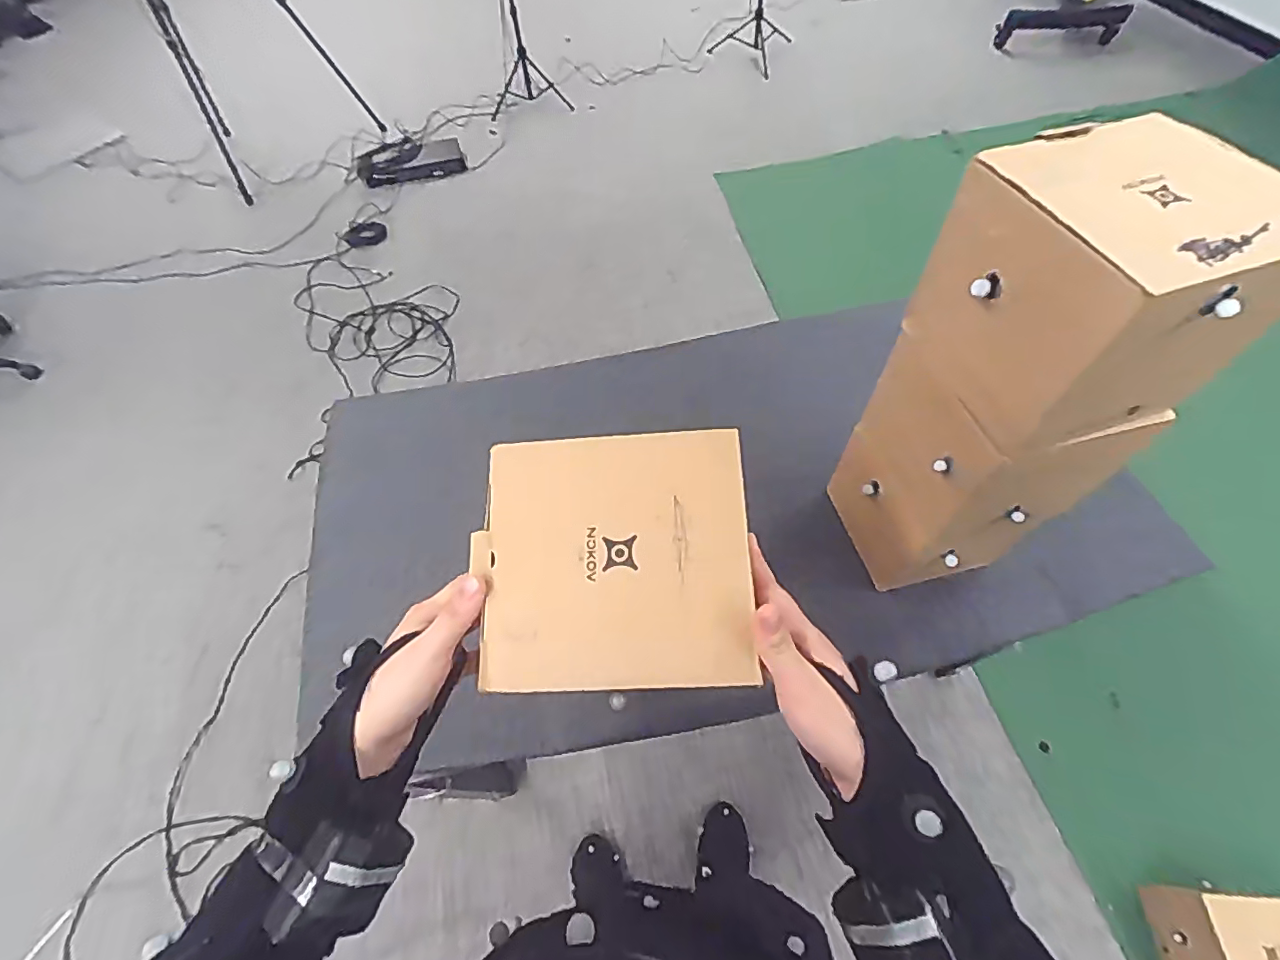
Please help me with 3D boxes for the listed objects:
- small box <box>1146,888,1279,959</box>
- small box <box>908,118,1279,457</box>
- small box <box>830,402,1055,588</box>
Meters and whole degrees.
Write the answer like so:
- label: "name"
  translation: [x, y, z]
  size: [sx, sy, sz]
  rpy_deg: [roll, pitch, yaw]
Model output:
- label: "small box"
  translation: [1.100, 0.871, 1.000]
  size: [0.179, 0.176, 0.168]
  rpy_deg: [1, 60, 4]
- label: "small box"
  translation: [0.352, -0.147, 0.431]
  size: [0.168, 0.176, 0.179]
  rpy_deg: [-16, 57, -6]
- label: "small box"
  translation: [0.374, 0.028, 0.709]
  size: [0.168, 0.176, 0.179]
  rpy_deg: [-13, 57, -4]
